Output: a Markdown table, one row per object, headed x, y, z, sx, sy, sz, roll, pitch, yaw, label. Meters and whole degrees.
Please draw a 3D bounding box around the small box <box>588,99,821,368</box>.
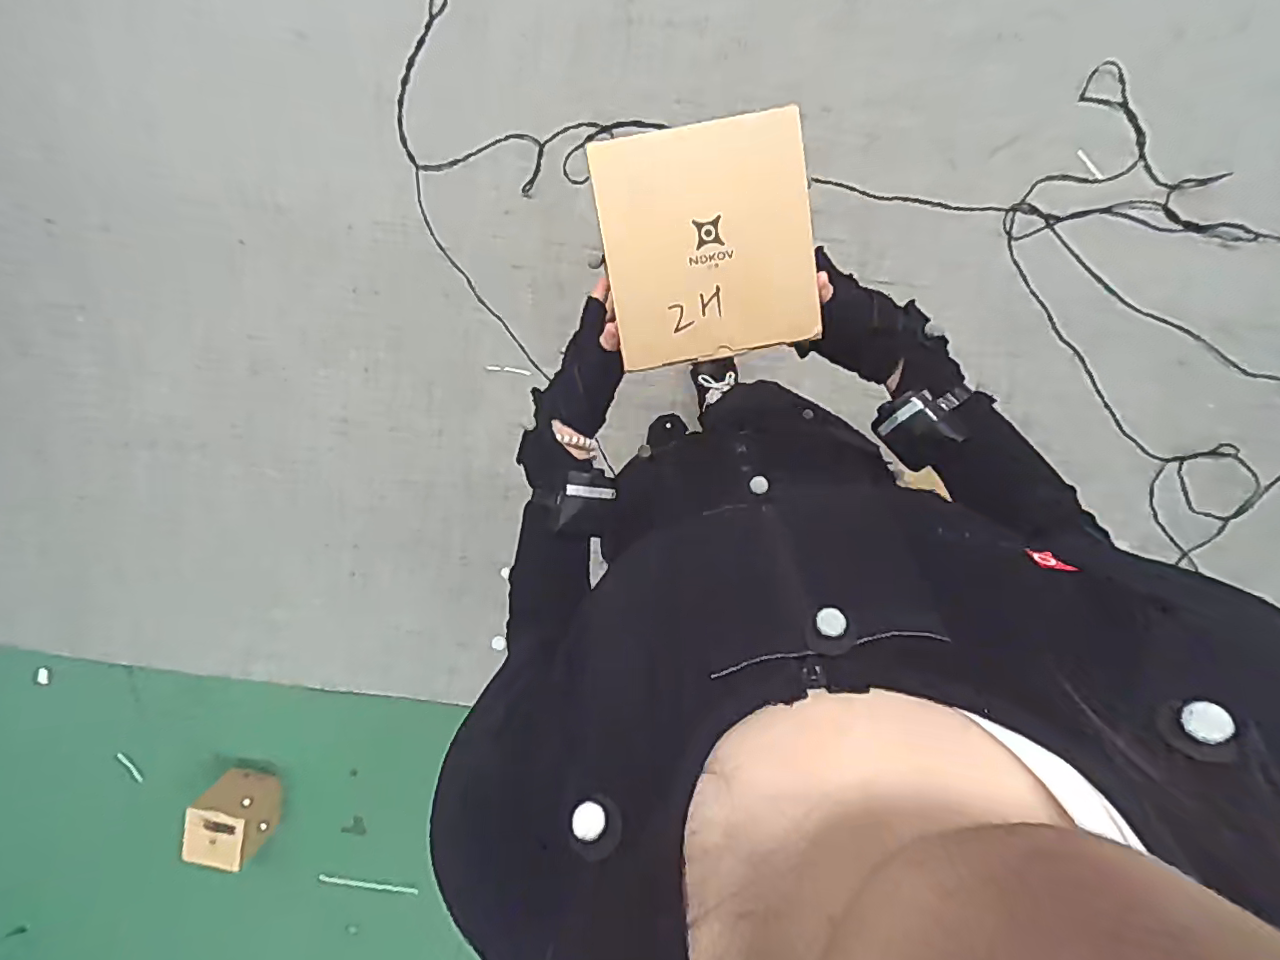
| x | y | z | sx | sy | sz | roll | pitch | yaw | label |
| --- | --- | --- | --- | --- | --- | --- | --- | --- | --- |
| 0.050 | -0.203 | 0.496 | 0.168 | 0.176 | 0.179 | -10 | 102 | 1 | small box |
